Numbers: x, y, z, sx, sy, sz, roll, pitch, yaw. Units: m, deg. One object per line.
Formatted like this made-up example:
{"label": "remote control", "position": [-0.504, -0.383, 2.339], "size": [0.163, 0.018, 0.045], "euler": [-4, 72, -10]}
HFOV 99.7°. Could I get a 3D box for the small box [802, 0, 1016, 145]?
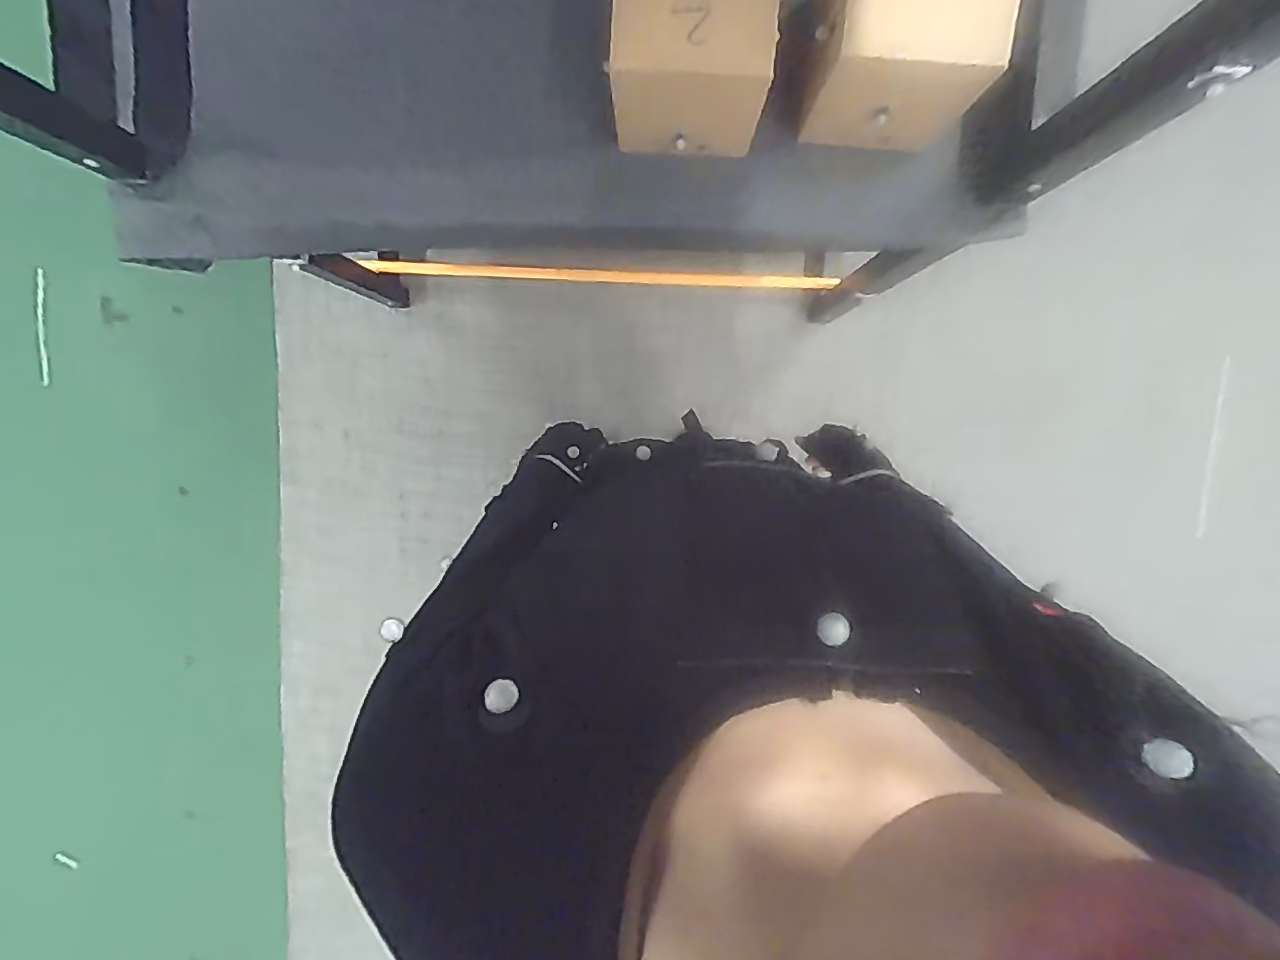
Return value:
{"label": "small box", "position": [0.288, -0.506, 0.600], "size": [0.168, 0.176, 0.179], "euler": [6, 96, 1]}
